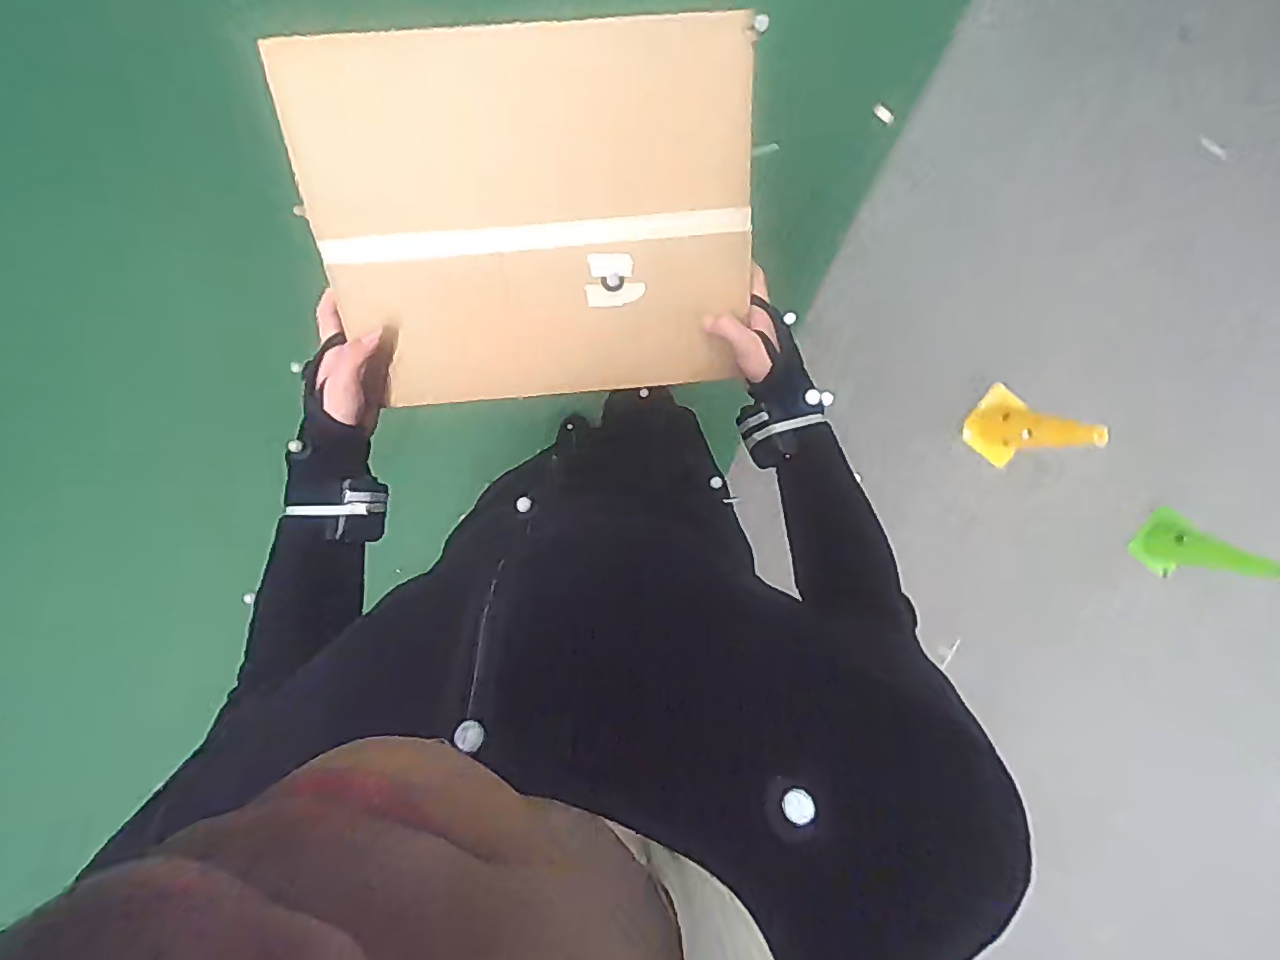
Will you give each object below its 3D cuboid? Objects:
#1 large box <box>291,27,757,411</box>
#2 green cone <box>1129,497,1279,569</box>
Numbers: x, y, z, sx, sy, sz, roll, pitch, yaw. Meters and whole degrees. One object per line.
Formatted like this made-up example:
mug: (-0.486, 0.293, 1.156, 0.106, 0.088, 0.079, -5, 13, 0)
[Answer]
large box: (-0.099, -0.296, 0.655, 0.408, 0.320, 0.320, -6, 118, -3)
green cone: (1.790, 0.205, 1.660, 0.202, 0.368, 0.200, 31, 95, -8)
